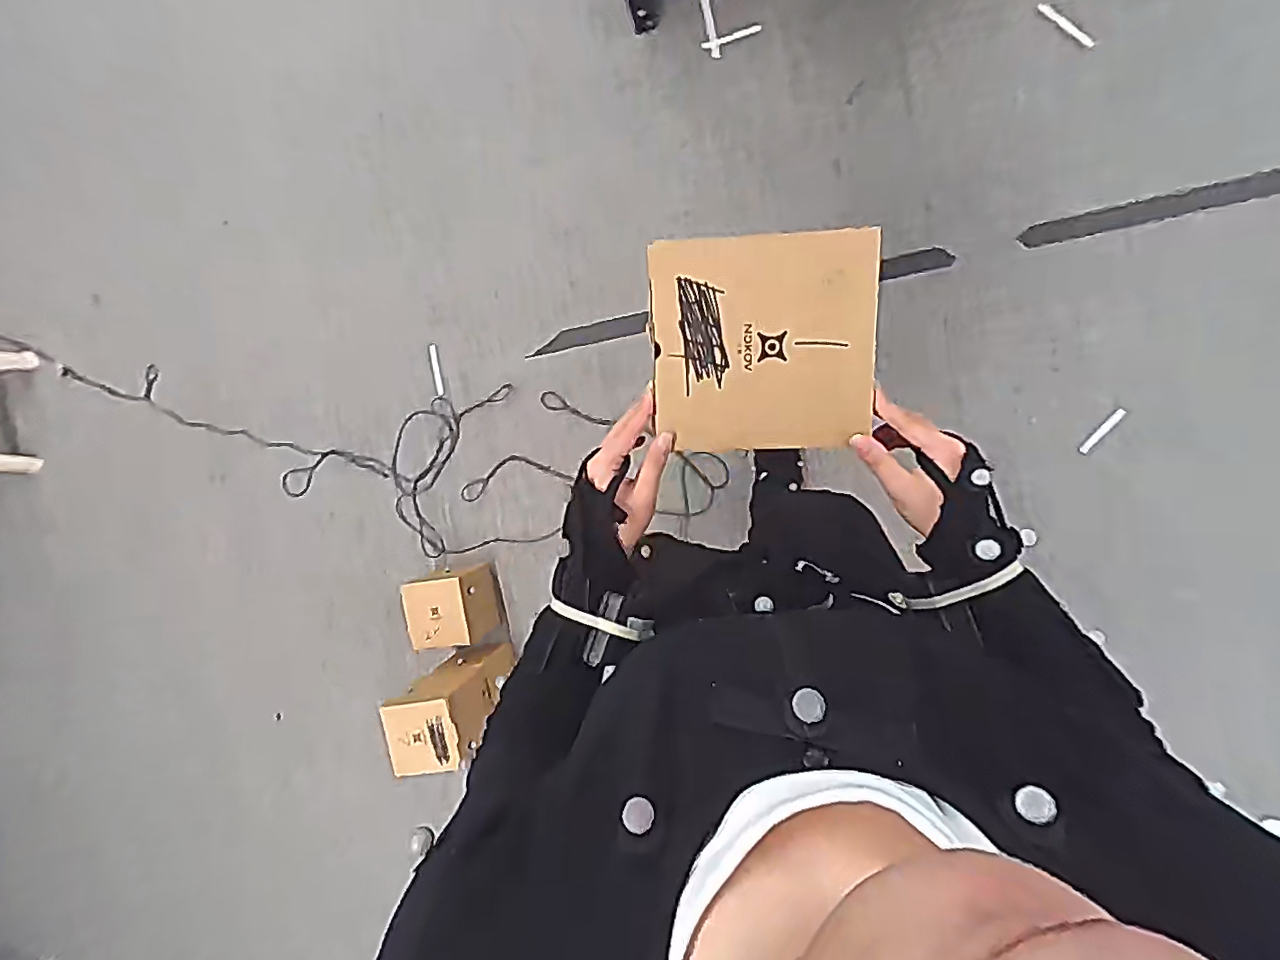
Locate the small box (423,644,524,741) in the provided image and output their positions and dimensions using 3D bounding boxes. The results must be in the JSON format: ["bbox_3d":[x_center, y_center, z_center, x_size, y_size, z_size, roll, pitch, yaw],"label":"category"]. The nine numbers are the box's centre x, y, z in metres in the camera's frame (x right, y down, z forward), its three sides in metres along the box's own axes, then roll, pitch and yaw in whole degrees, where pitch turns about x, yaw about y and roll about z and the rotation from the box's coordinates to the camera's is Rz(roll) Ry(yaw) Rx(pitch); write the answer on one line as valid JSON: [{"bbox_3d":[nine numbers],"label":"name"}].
[{"bbox_3d":[-0.436,0.559,1.438,0.179,0.176,0.168,-17,92,11],"label":"small box"}]

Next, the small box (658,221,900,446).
[{"bbox_3d":[0.110,-0.121,0.489,0.179,0.176,0.168,0,101,5],"label":"small box"}]

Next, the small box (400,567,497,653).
[{"bbox_3d":[-0.498,0.335,1.426,0.168,0.176,0.179,-9,94,12],"label":"small box"}]
